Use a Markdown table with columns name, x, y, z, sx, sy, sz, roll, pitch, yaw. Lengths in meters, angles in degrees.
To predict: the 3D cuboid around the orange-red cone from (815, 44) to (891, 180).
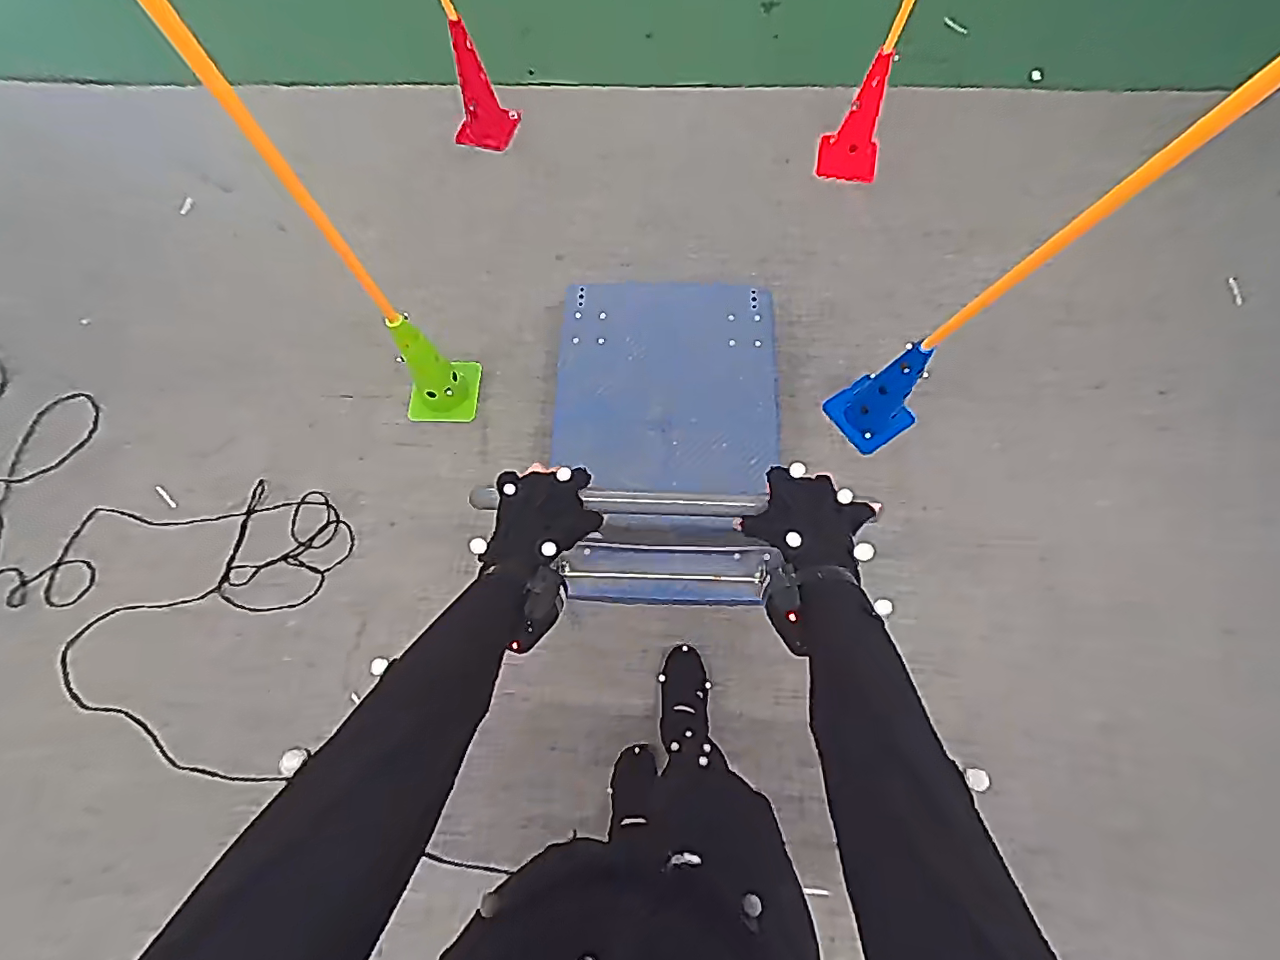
| name | x | y | z | sx | sy | sz | roll | pitch | yaw |
| --- | --- | --- | --- | --- | --- | --- | --- | --- | --- |
| orange-red cone | 0.708 | -1.176 | 1.710 | 0.198 | 0.360 | 0.199 | 12 | 73 | 7 |
